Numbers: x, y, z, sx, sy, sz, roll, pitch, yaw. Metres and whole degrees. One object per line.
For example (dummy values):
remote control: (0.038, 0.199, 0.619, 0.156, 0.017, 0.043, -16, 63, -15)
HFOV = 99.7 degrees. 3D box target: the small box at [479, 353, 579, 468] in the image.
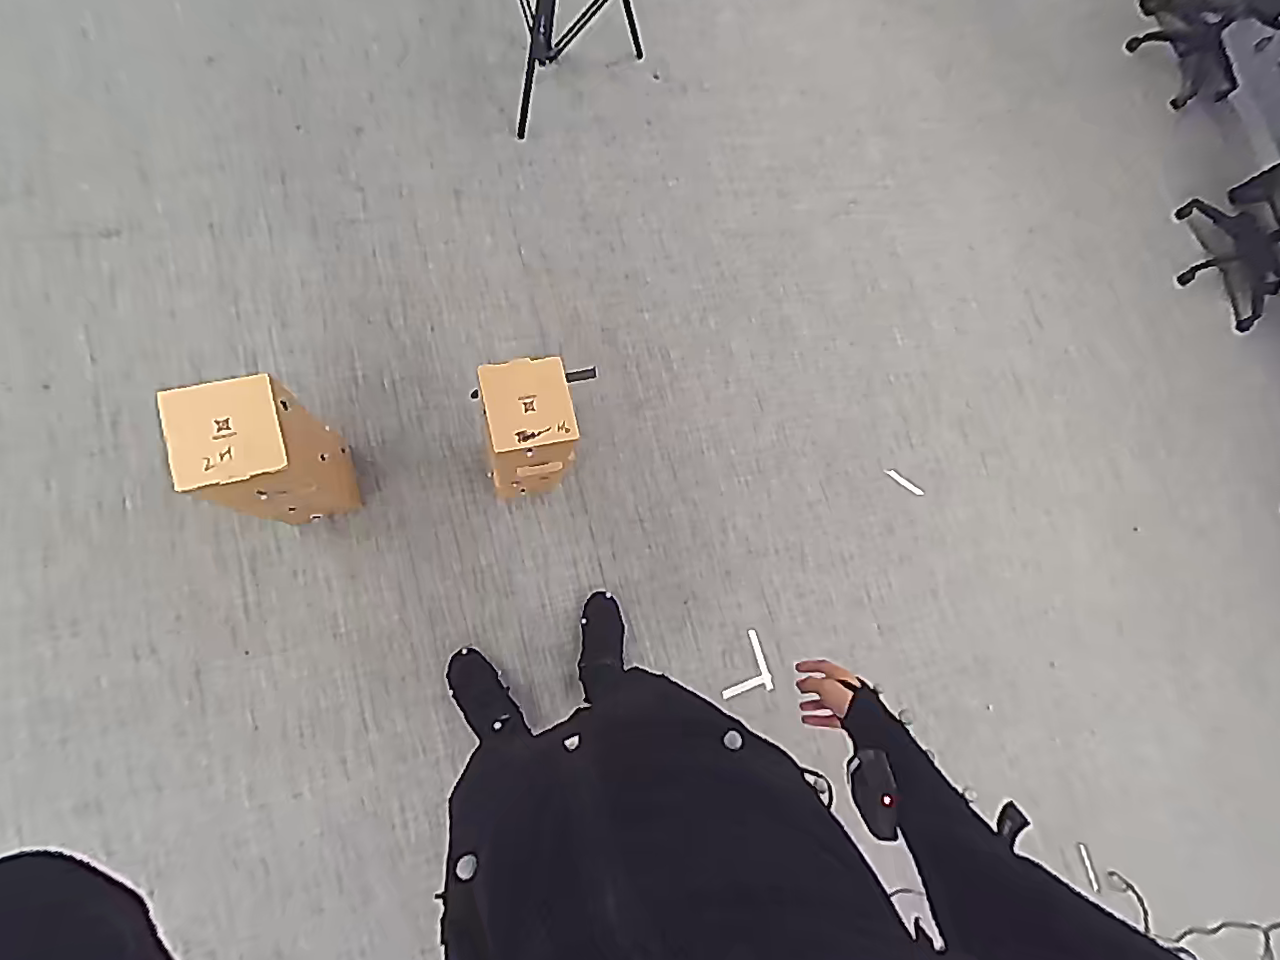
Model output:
small box: (-0.234, -0.138, 1.112, 0.168, 0.176, 0.179, -11, 81, -17)

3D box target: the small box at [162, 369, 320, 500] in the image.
small box: (-0.704, -0.076, 0.972, 0.168, 0.176, 0.179, -15, 83, -16)

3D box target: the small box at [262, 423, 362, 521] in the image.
small box: (-0.782, -0.015, 1.285, 0.168, 0.176, 0.179, -15, 82, -17)

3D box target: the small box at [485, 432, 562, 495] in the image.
small box: (-0.312, -0.070, 1.425, 0.168, 0.176, 0.179, -10, 82, -17)

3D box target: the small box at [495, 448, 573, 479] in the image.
small box: (-0.263, -0.106, 1.272, 0.168, 0.176, 0.179, -11, 81, -18)
